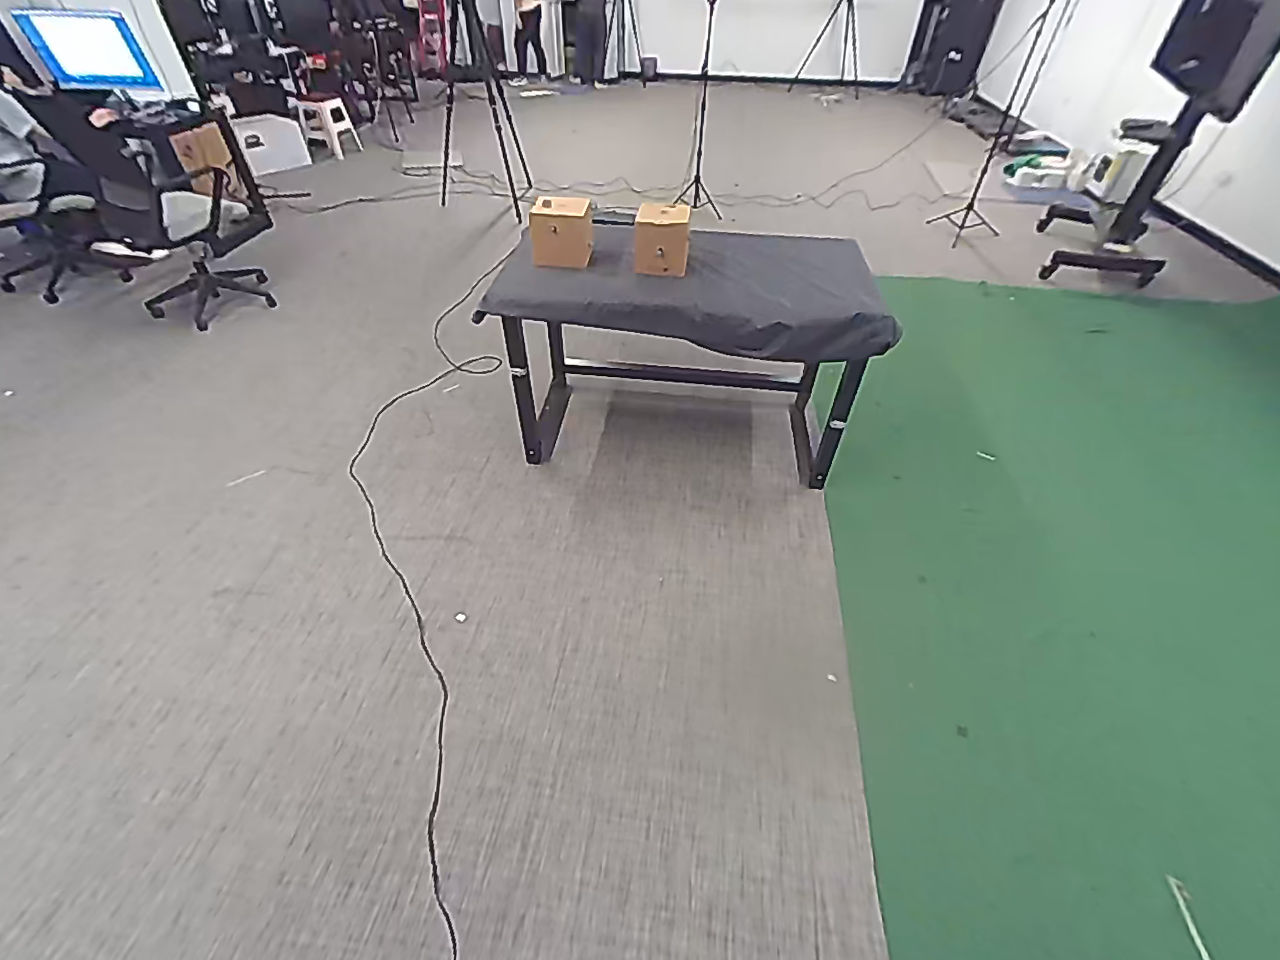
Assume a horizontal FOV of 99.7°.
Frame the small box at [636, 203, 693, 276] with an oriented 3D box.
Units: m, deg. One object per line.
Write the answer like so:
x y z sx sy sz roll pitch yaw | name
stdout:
0.080 -0.782 1.760 0.168 0.176 0.179 6 45 4 | small box

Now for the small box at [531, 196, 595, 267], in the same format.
-0.248 -0.821 1.788 0.179 0.176 0.168 5 45 2 | small box
